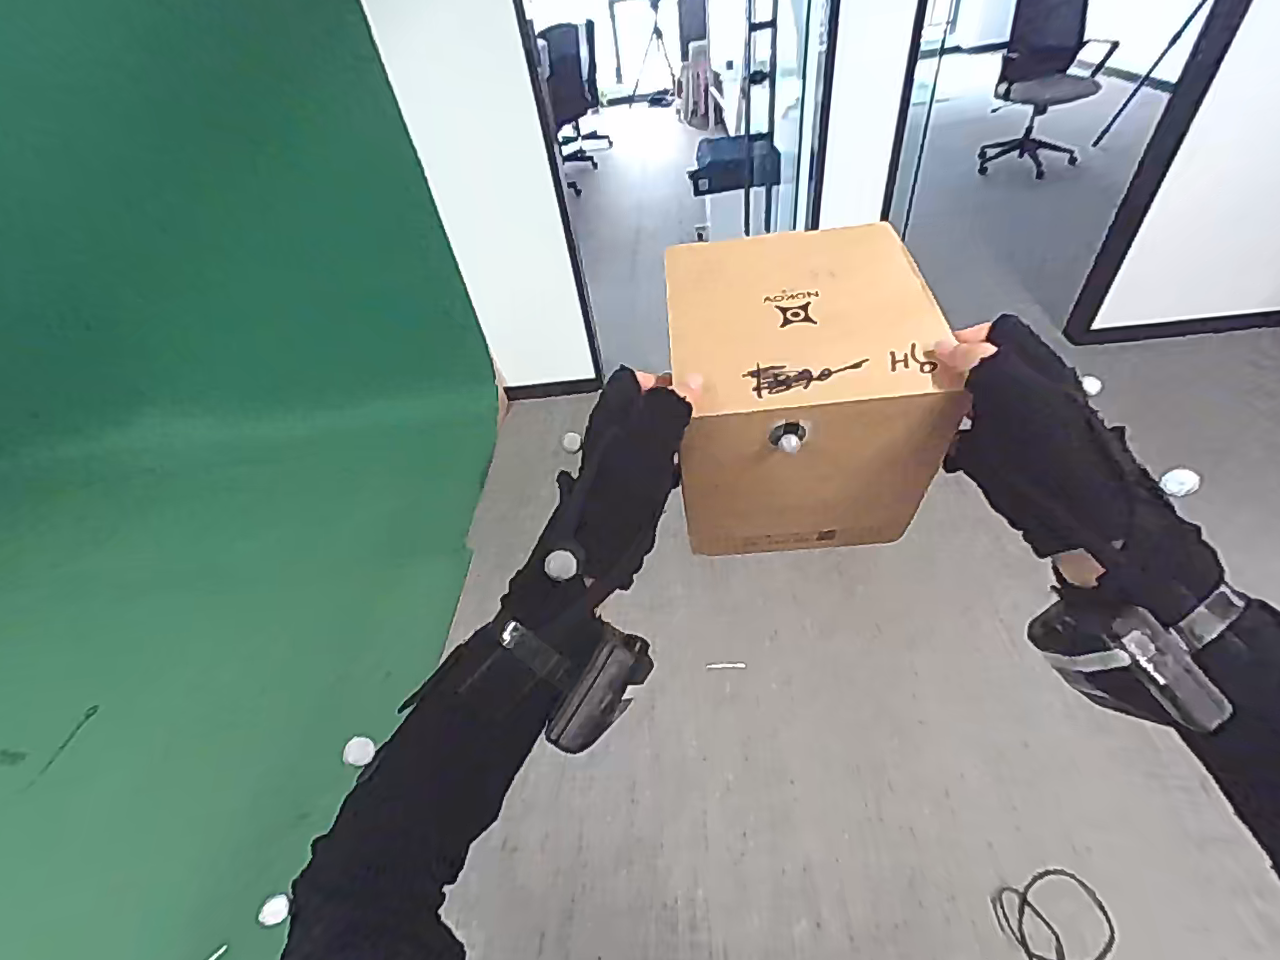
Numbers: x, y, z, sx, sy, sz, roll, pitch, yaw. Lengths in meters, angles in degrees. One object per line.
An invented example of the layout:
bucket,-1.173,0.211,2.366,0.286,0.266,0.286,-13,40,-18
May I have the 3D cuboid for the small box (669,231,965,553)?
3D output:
small box,0.111,-0.062,0.420,0.168,0.176,0.179,-5,52,7
